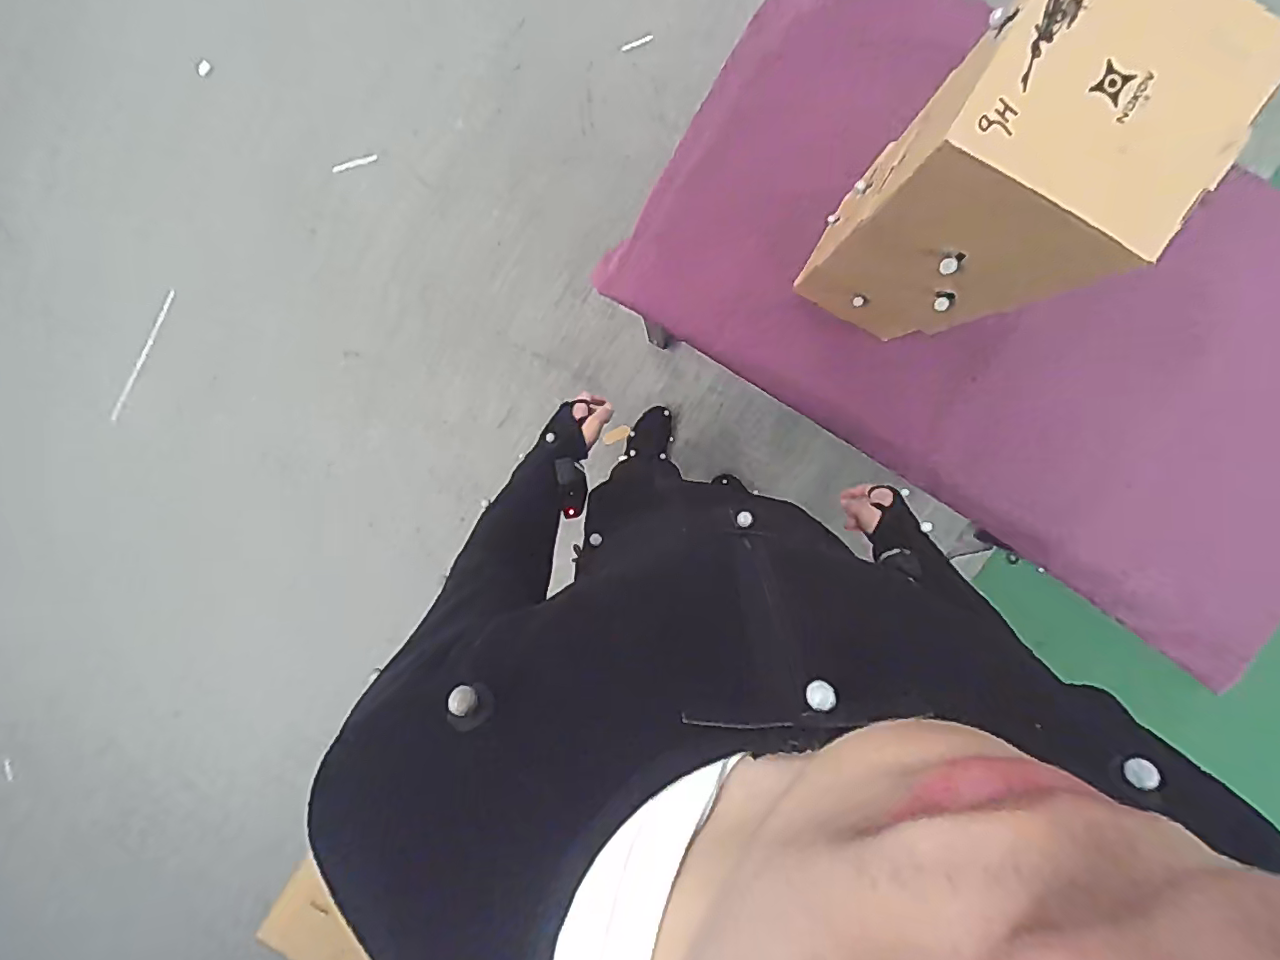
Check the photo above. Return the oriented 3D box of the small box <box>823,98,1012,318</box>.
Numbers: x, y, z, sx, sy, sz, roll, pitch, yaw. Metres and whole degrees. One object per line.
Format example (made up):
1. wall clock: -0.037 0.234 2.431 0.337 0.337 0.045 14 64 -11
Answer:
1. small box: 0.340 -0.301 0.610 0.179 0.176 0.168 32 98 0

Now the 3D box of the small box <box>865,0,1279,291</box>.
1. small box: 0.328 -0.278 0.448 0.179 0.176 0.168 31 98 -1

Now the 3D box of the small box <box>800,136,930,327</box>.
1. small box: 0.358 -0.335 0.771 0.179 0.176 0.168 30 98 1
